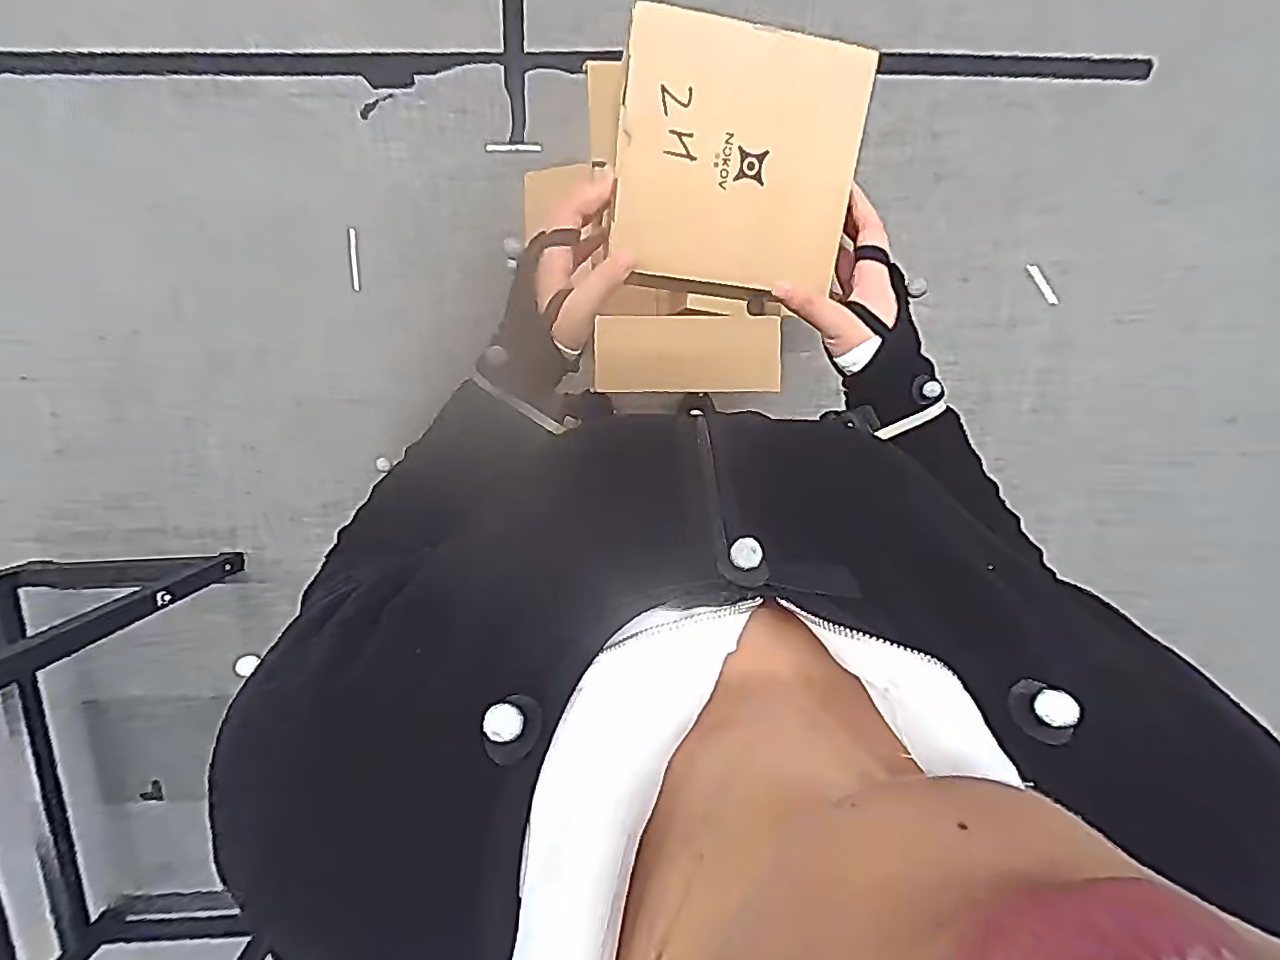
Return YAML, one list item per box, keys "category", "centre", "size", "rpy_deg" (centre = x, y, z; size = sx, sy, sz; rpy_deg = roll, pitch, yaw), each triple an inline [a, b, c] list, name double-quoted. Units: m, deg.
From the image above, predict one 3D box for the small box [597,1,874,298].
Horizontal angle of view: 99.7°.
- category: "small box"
  centre: [0.060, -0.252, 0.461]
  size: [0.179, 0.176, 0.168]
  rpy_deg: [5, 107, -7]
